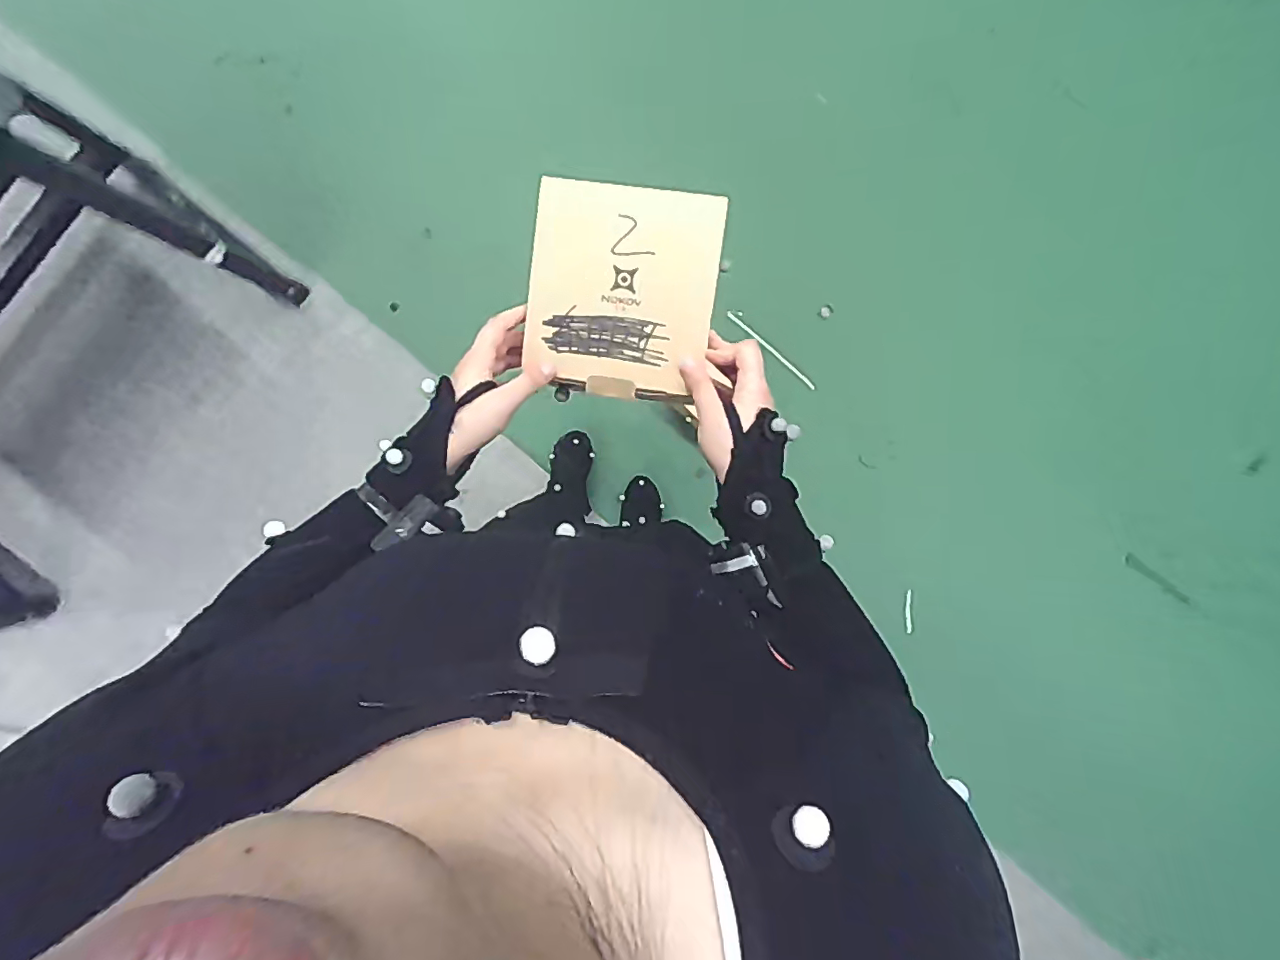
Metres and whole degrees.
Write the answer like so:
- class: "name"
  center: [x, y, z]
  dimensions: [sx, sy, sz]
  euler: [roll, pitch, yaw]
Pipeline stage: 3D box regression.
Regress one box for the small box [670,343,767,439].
- class: "small box"
  center: [0.195, -0.223, 1.394]
  dimensions: [0.179, 0.176, 0.168]
  euler: [45, 92, -1]
